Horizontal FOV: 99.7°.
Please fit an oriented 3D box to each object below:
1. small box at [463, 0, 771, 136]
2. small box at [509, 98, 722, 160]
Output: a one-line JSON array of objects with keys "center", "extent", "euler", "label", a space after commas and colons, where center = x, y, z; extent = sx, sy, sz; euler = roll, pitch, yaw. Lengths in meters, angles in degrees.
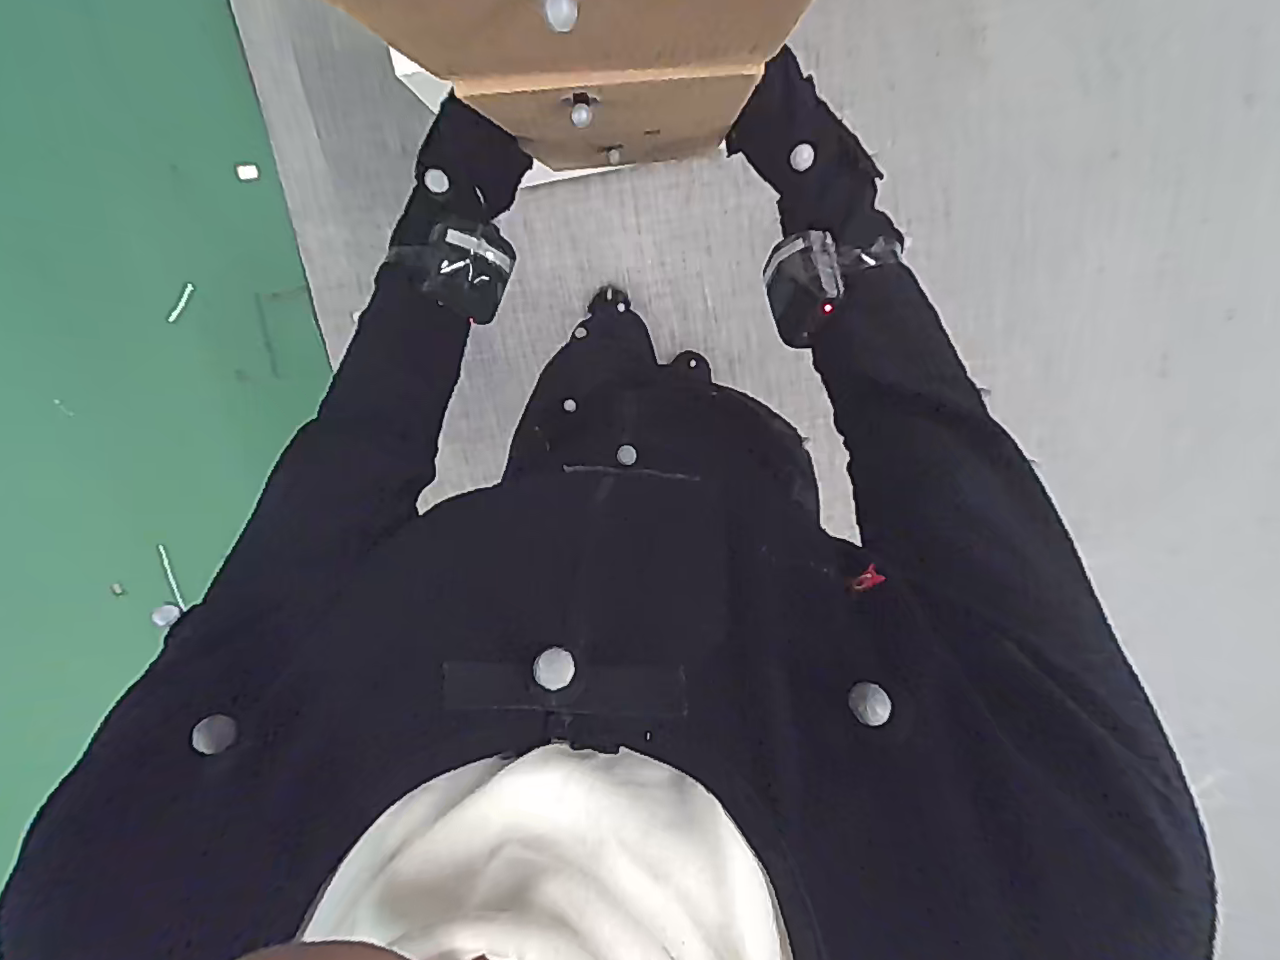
[{"center": [-0.019, -0.332, 0.328], "extent": [0.168, 0.176, 0.179], "euler": [-5, 114, 3], "label": "small box"}, {"center": [-0.018, -0.393, 0.478], "extent": [0.179, 0.176, 0.168], "euler": [-3, 114, 4], "label": "small box"}]
